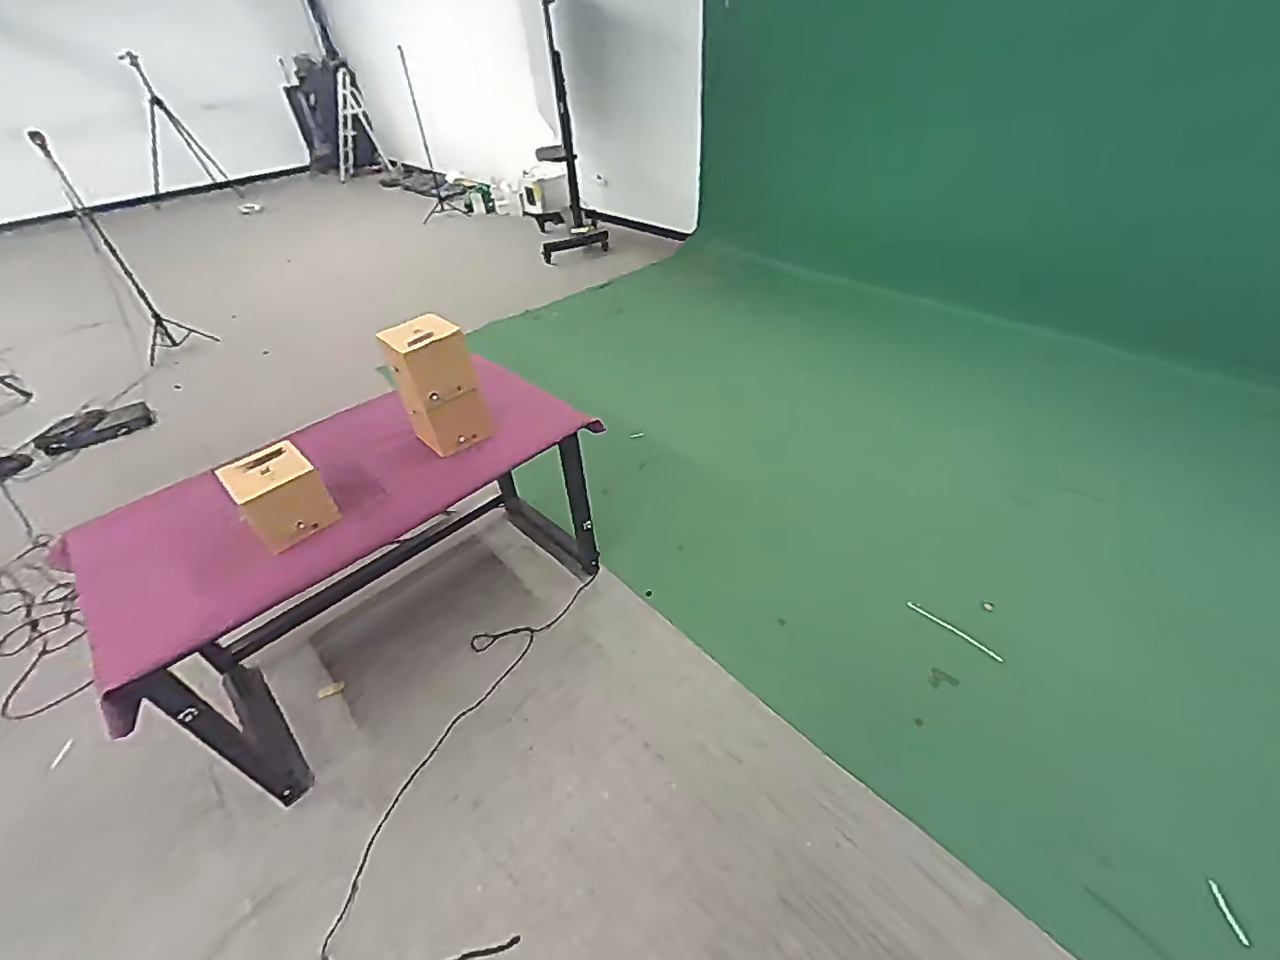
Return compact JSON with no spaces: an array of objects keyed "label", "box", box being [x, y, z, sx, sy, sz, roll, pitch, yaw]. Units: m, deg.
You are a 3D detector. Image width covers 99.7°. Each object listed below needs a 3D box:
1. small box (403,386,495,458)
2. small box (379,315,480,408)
[{"label":"small box","box":[-0.543,-0.190,1.549,0.168,0.176,0.179,-34,48,-28]},{"label":"small box","box":[-0.553,-0.312,1.440,0.168,0.176,0.179,-34,47,-28]}]
